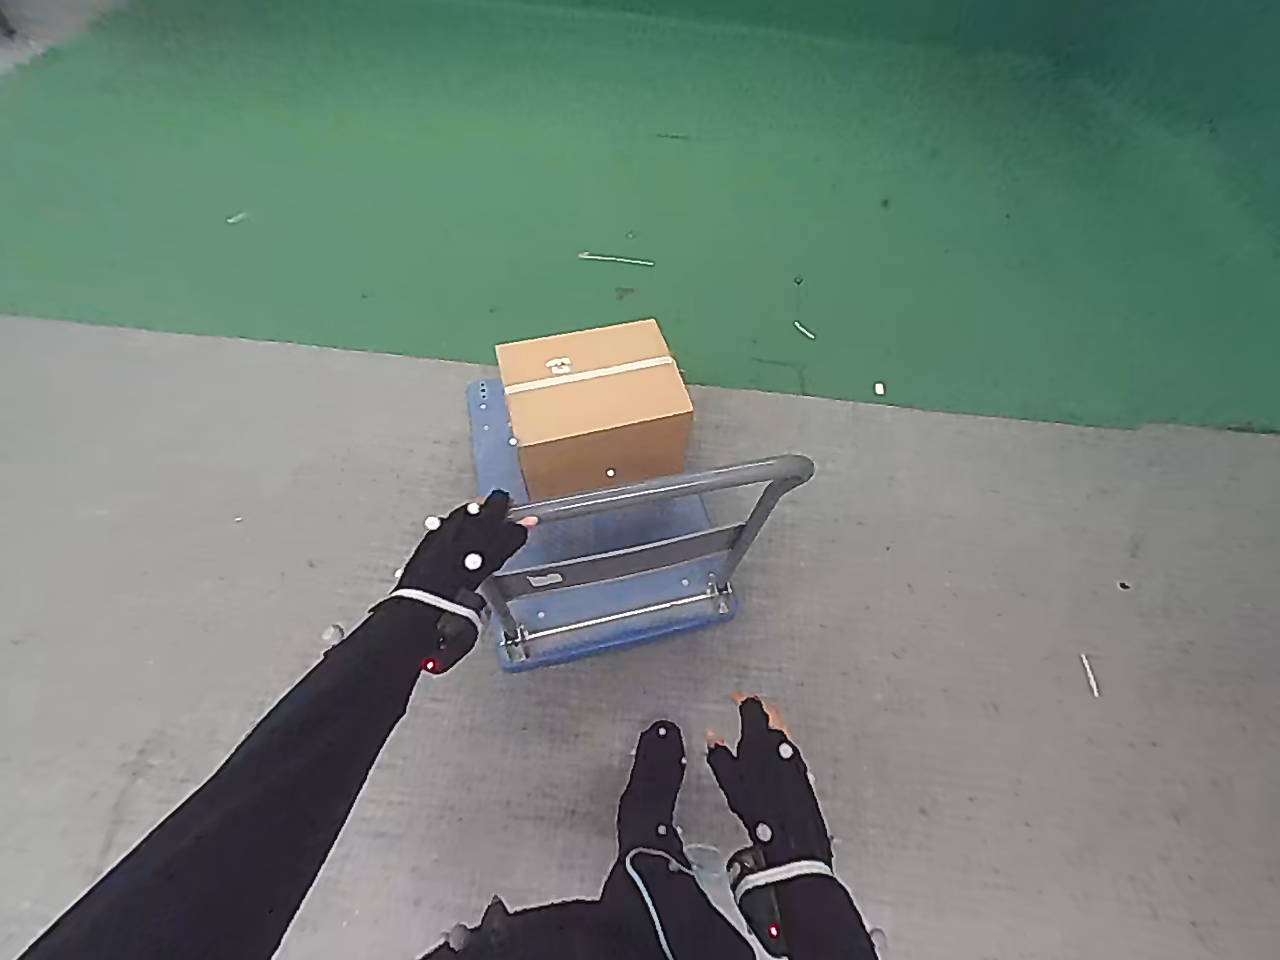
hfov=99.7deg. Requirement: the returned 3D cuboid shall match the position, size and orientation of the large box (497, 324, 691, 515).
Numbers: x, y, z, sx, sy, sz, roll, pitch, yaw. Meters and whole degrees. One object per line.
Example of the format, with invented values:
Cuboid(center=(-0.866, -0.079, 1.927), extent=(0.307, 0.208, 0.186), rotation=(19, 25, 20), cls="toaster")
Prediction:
Cuboid(center=(-0.118, -0.149, 1.393), extent=(0.408, 0.320, 0.320), rotation=(-13, 59, -10), cls="large box")
